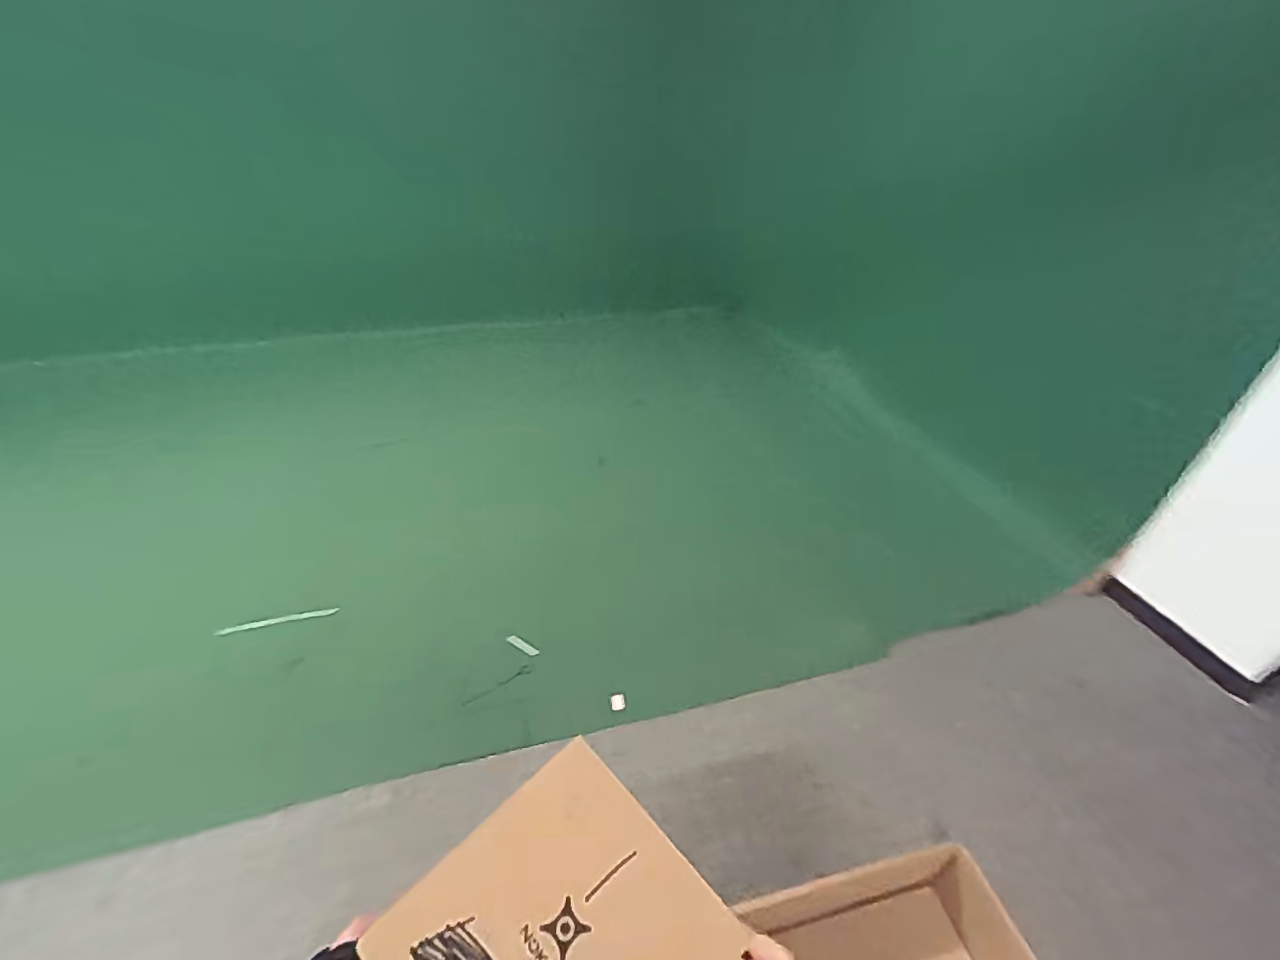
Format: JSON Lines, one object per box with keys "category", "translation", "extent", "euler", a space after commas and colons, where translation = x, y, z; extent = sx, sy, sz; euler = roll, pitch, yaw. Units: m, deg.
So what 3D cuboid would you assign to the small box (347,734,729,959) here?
{"category": "small box", "translation": [-0.057, 0.329, 0.377], "extent": [0.179, 0.176, 0.168], "euler": [-35, 52, -30]}
